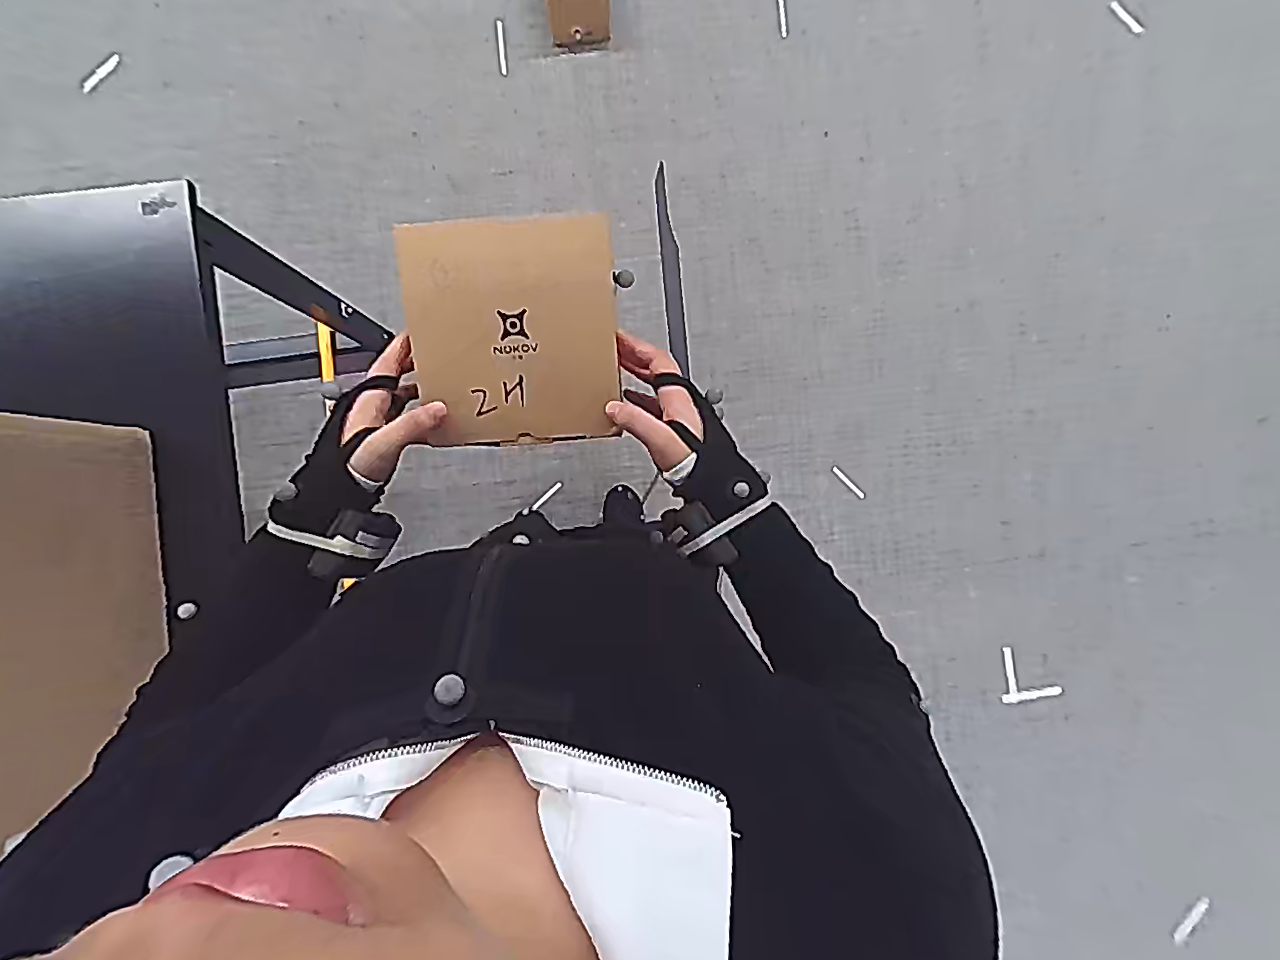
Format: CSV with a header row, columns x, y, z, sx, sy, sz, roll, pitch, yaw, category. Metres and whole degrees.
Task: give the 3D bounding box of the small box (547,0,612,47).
x,y,z,sx,sy,sz,roll,pitch,yaw,category
-0.169,-1.308,1.434,0.168,0.176,0.179,-10,91,-1,small box
